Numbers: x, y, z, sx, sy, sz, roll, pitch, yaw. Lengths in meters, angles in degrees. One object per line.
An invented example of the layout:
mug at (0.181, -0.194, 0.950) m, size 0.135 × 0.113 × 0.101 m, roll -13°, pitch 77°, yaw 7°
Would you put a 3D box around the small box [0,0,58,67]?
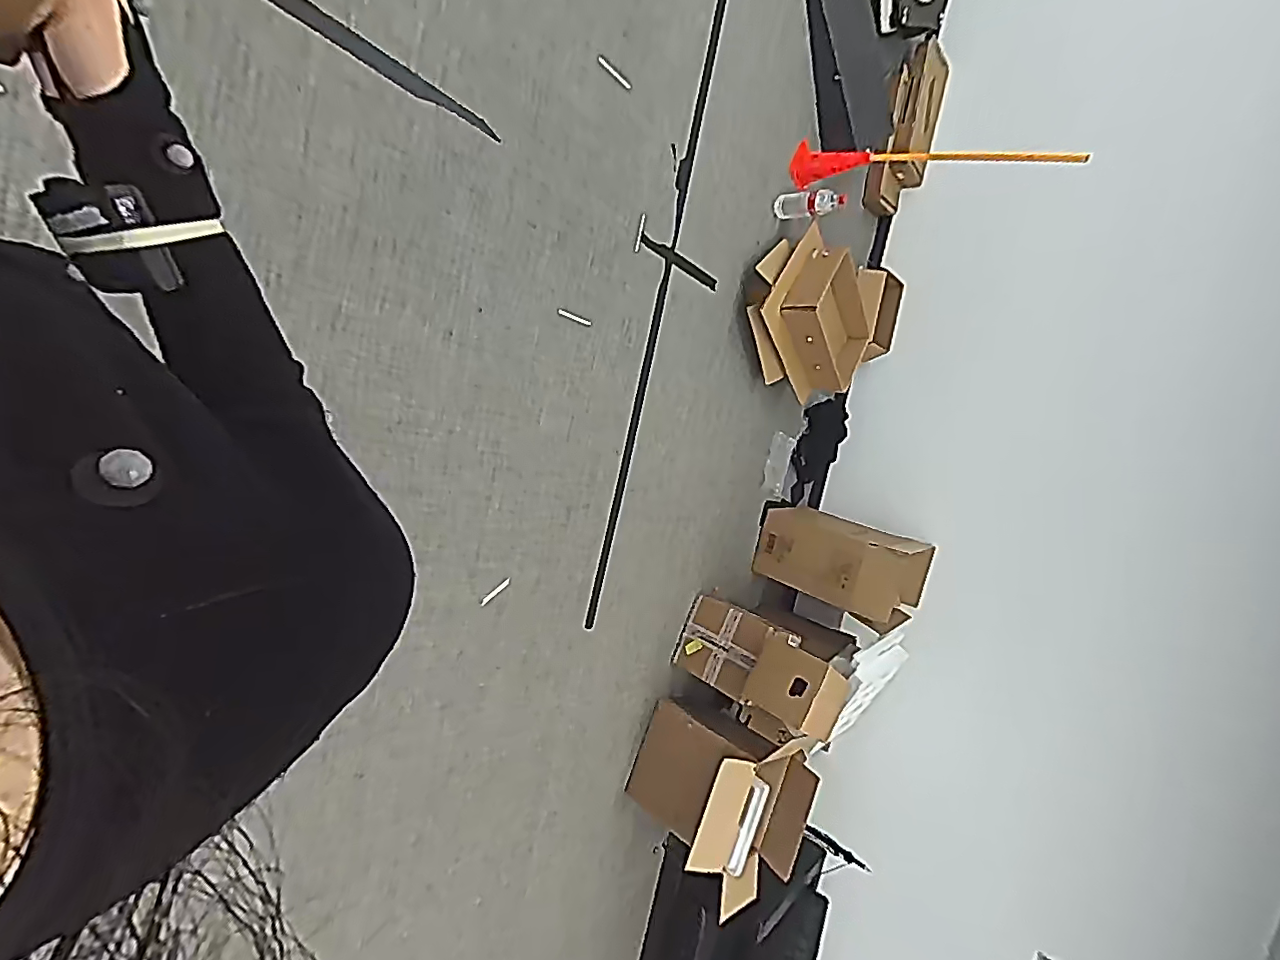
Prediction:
small box at (-0.339, -0.298, 0.195) m, size 0.168 × 0.176 × 0.179 m, roll -12°, pitch 107°, yaw -54°
